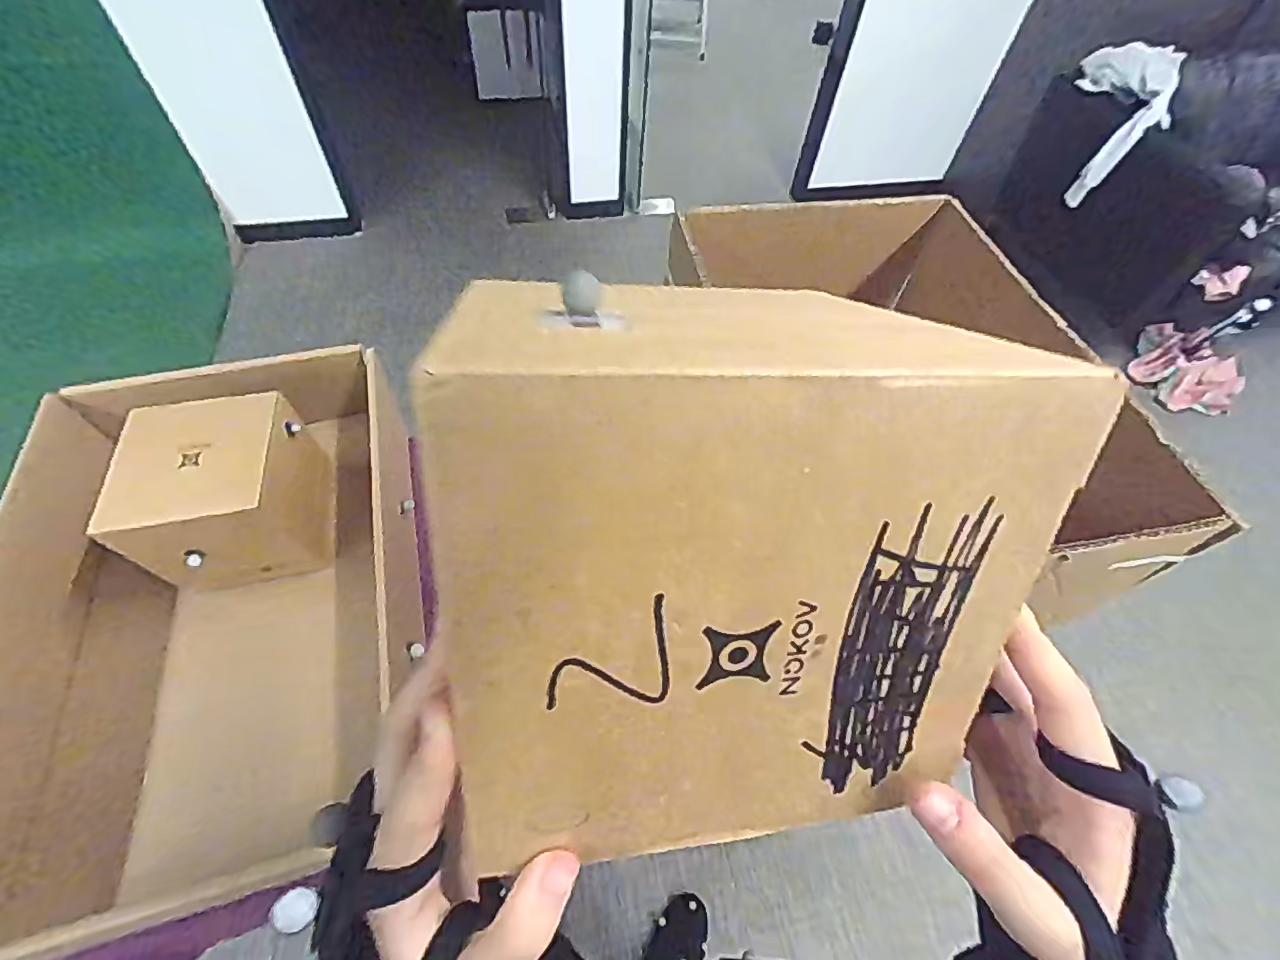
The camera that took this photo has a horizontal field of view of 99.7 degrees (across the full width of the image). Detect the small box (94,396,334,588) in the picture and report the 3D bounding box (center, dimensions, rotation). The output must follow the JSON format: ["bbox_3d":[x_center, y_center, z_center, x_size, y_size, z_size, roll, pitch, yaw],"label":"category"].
[{"bbox_3d":[-0.512,0.023,0.685,0.168,0.176,0.179,-10,57,-9],"label":"small box"}]
